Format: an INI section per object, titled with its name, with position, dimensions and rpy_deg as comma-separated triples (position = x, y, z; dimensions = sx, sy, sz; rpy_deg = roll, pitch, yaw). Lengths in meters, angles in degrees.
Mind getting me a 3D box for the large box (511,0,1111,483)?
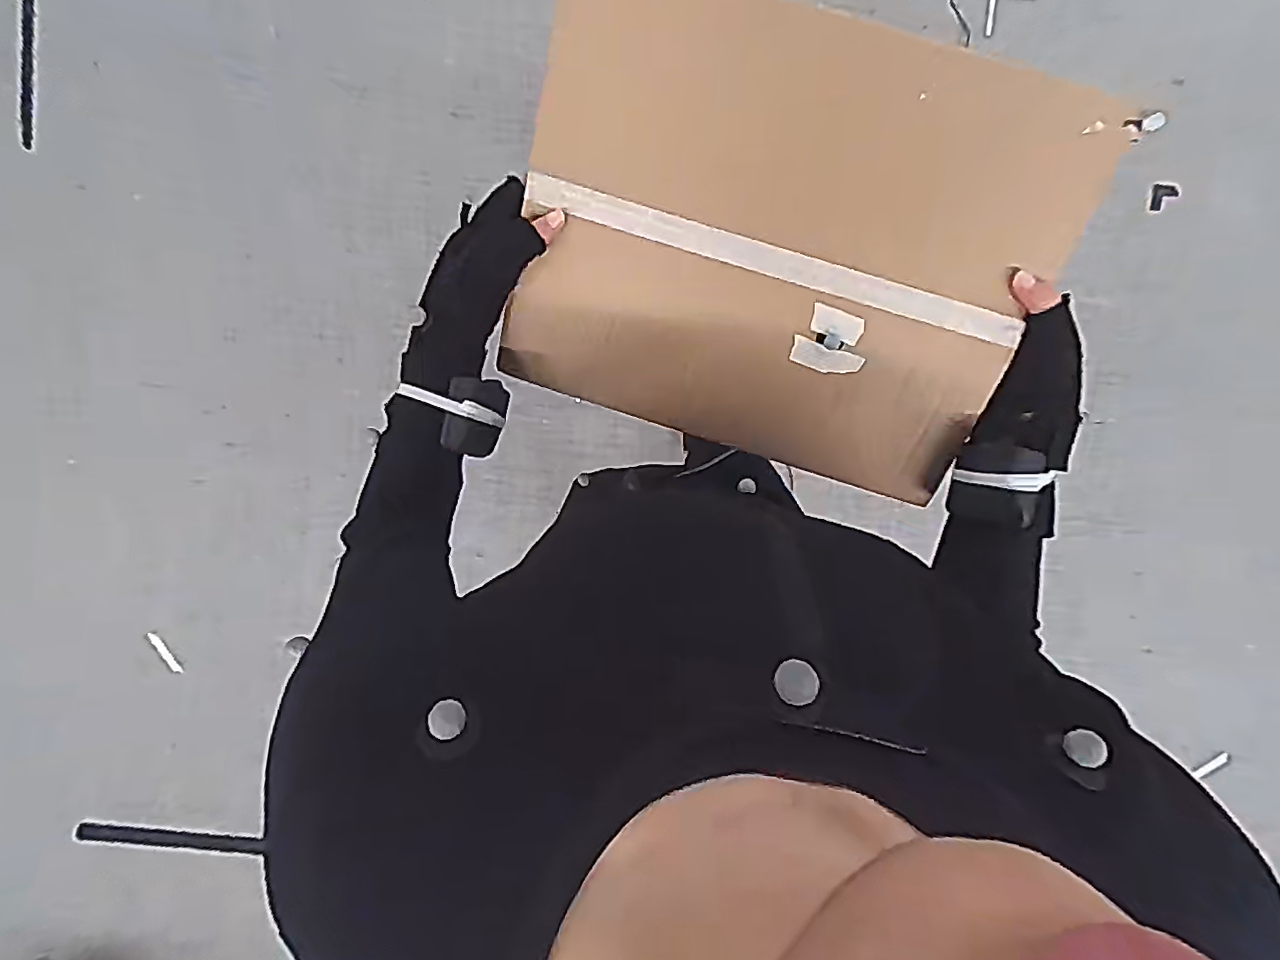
[large box]
position = 0.121, -0.240, 0.577
dimensions = 0.408, 0.320, 0.320
rpy_deg = 17, 115, 0
